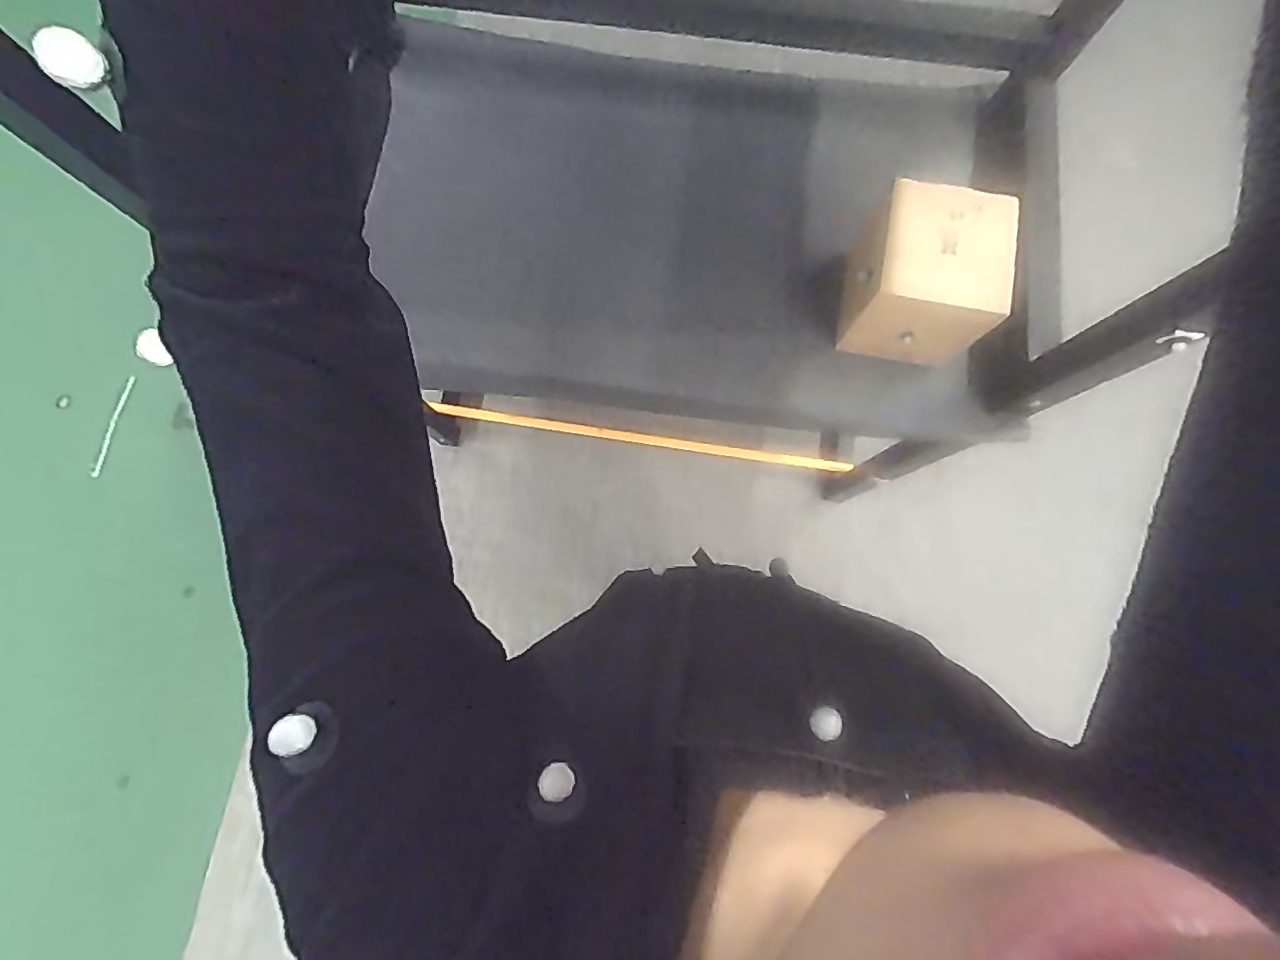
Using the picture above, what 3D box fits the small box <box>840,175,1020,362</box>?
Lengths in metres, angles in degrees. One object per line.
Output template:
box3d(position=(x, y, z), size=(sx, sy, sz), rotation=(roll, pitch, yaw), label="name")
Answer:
box3d(position=(0.402, -0.290, 0.776), size=(0.168, 0.176, 0.179), rotation=(12, 79, 3), label="small box")
